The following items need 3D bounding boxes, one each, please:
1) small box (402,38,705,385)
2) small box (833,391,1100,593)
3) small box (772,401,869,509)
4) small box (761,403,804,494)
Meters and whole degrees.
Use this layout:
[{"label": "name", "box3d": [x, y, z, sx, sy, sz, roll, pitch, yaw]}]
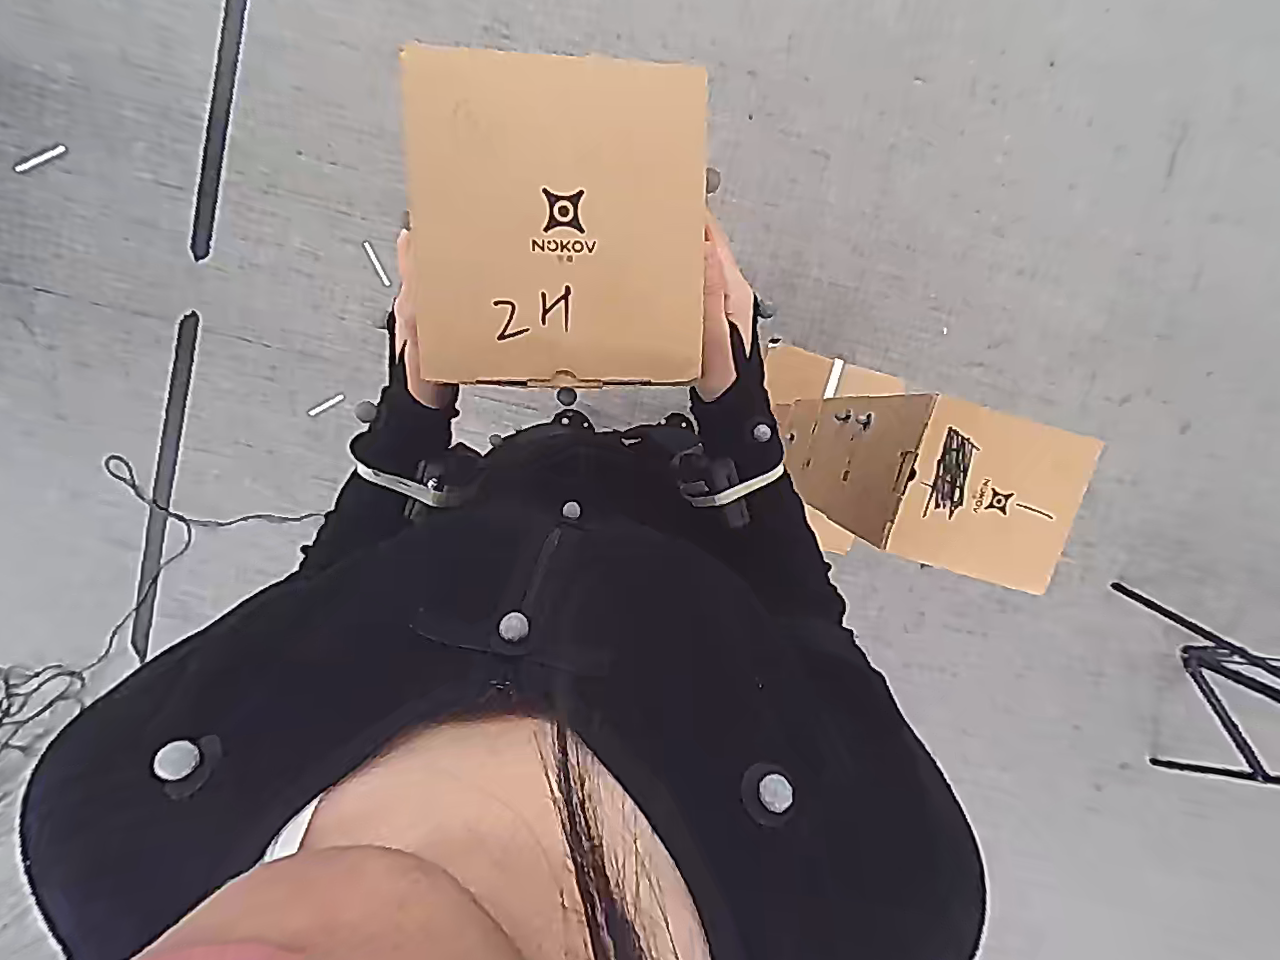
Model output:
[{"label": "small box", "box3d": [-0.055, -0.159, 0.383, 0.168, 0.176, 0.179, 0, 100, -6]}, {"label": "small box", "box3d": [0.346, 0.005, 0.614, 0.179, 0.176, 0.168, 16, 98, -2]}, {"label": "small box", "box3d": [0.350, -0.038, 0.940, 0.179, 0.176, 0.168, 14, 97, -1]}, {"label": "small box", "box3d": [0.357, -0.053, 1.102, 0.168, 0.176, 0.179, 13, 98, -1]}]
